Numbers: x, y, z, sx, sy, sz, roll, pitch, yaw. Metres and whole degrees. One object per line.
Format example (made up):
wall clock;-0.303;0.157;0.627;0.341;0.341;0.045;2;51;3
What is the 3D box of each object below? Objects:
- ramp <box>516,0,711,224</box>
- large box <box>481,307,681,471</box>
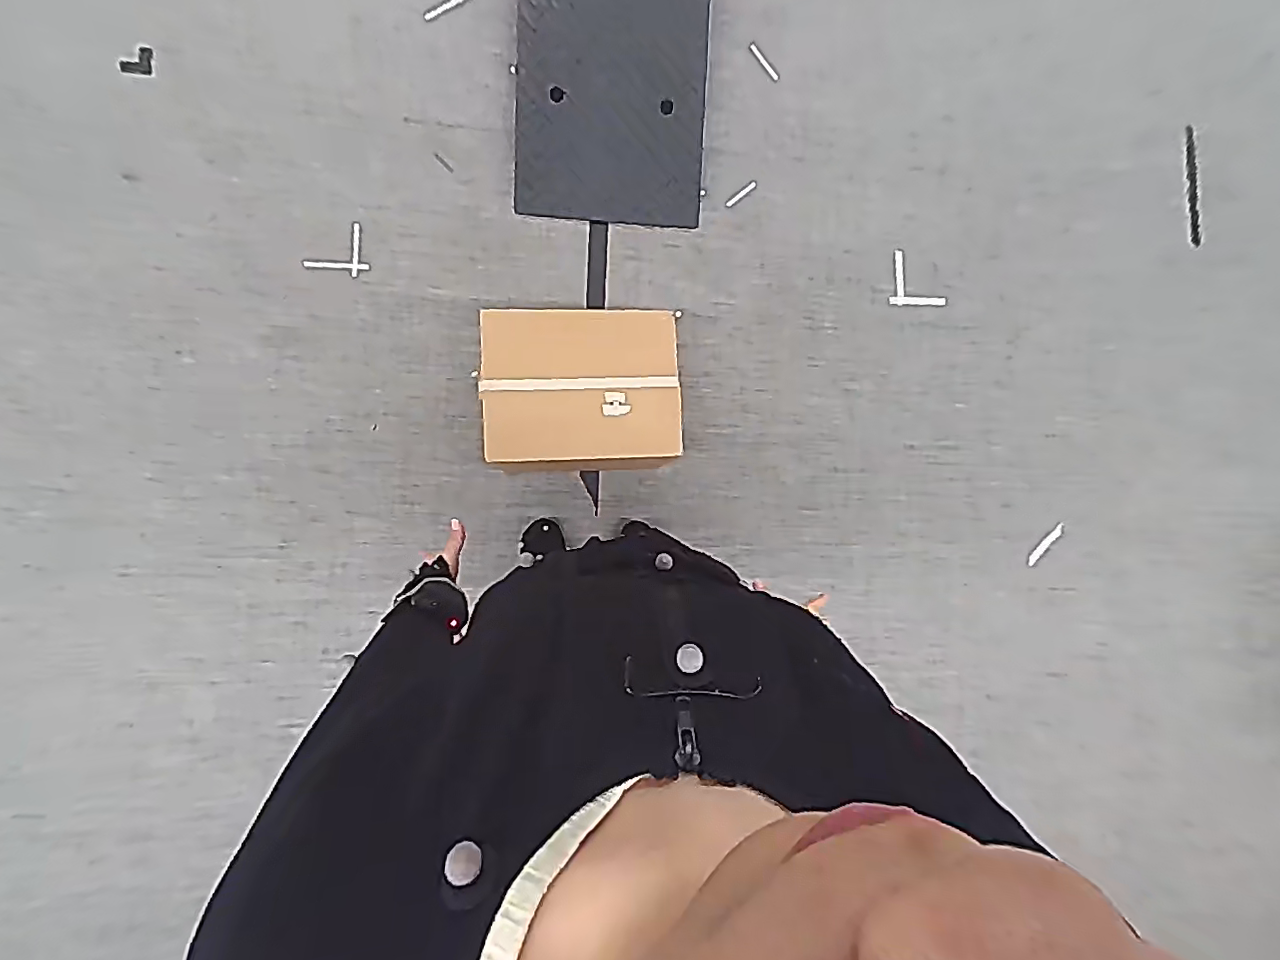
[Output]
ramp;-0.060;-1.193;1.375;0.509;0.206;0.991;0;88;-9
large box;-0.140;-0.193;1.255;0.408;0.320;0.320;-2;87;-8
